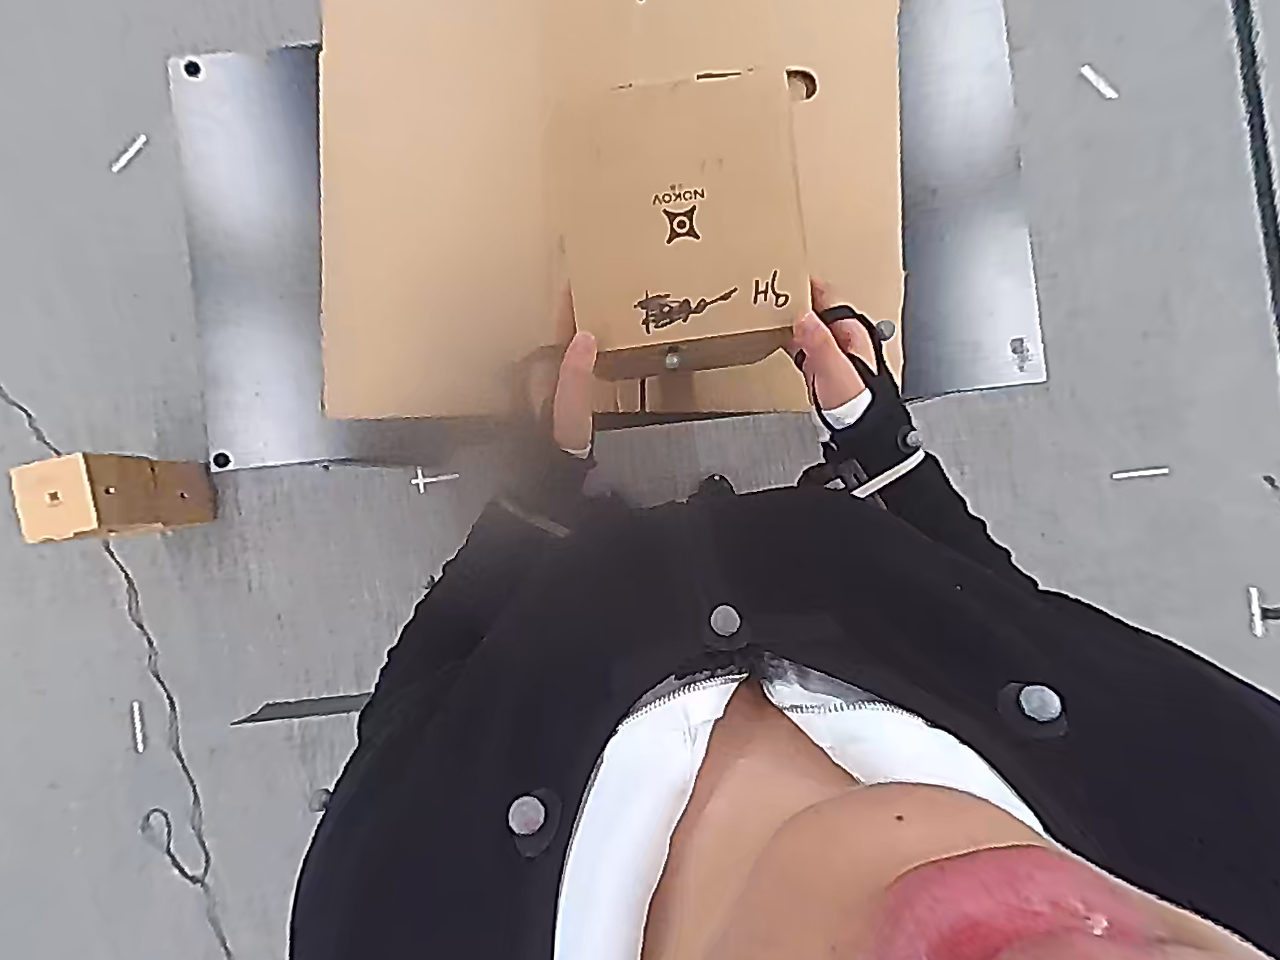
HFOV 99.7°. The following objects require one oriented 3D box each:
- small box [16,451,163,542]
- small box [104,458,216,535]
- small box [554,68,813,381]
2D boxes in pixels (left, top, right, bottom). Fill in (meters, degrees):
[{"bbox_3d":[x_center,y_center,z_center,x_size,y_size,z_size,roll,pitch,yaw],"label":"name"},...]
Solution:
[{"bbox_3d":[-1.282,0.036,1.273,0.168,0.176,0.179,-13,88,-1],"label":"small box"},{"bbox_3d":[-1.278,0.043,1.436,0.168,0.176,0.179,-10,90,1],"label":"small box"},{"bbox_3d":[0.029,-0.189,0.451,0.168,0.176,0.179,-7,93,1],"label":"small box"}]
